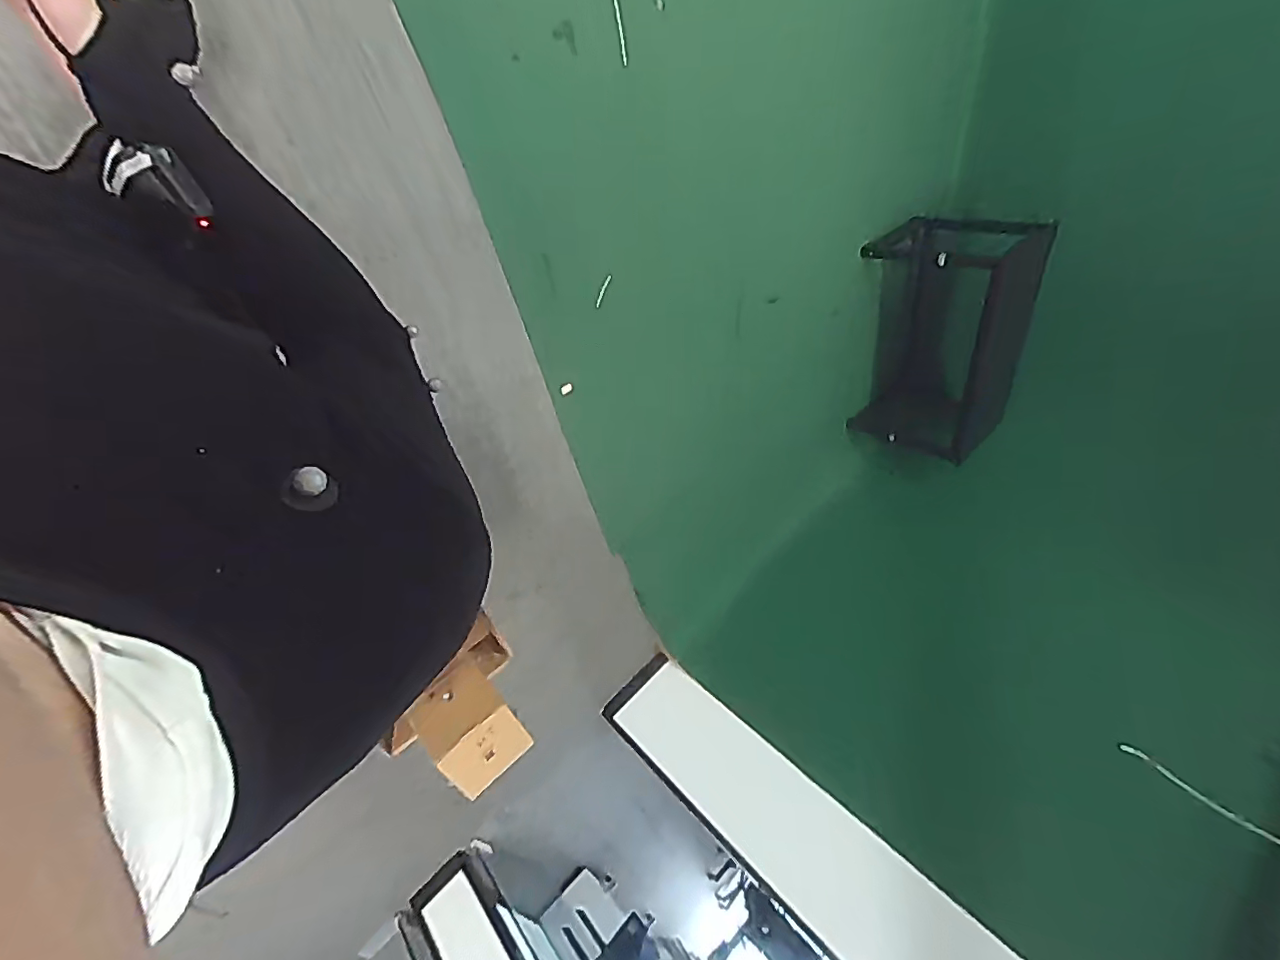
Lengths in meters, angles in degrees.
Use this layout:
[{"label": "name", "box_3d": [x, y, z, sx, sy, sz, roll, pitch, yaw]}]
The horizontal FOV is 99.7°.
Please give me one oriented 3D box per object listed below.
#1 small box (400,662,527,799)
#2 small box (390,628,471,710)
[{"label": "small box", "box_3d": [-0.378, 0.529, 1.161, 0.168, 0.176, 0.179, -37, 132, -25]}, {"label": "small box", "box_3d": [-0.483, 0.482, 1.280, 0.168, 0.176, 0.179, -35, 131, -26]}]
